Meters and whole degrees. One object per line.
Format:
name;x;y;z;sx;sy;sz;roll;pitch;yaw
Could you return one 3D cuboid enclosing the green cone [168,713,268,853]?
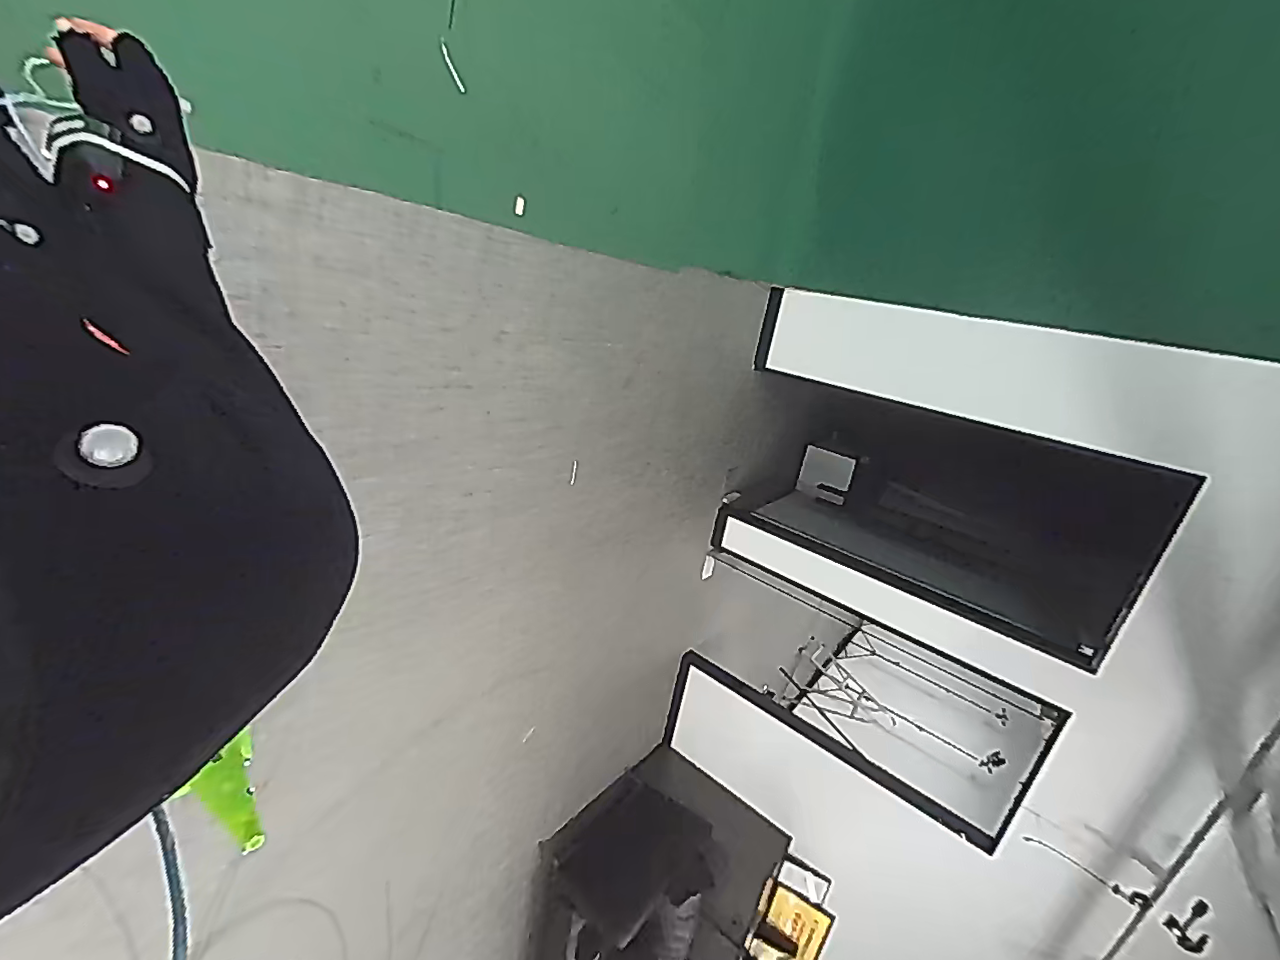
green cone;-1.059;0.829;1.422;0.202;0.368;0.200;-15;121;-48
